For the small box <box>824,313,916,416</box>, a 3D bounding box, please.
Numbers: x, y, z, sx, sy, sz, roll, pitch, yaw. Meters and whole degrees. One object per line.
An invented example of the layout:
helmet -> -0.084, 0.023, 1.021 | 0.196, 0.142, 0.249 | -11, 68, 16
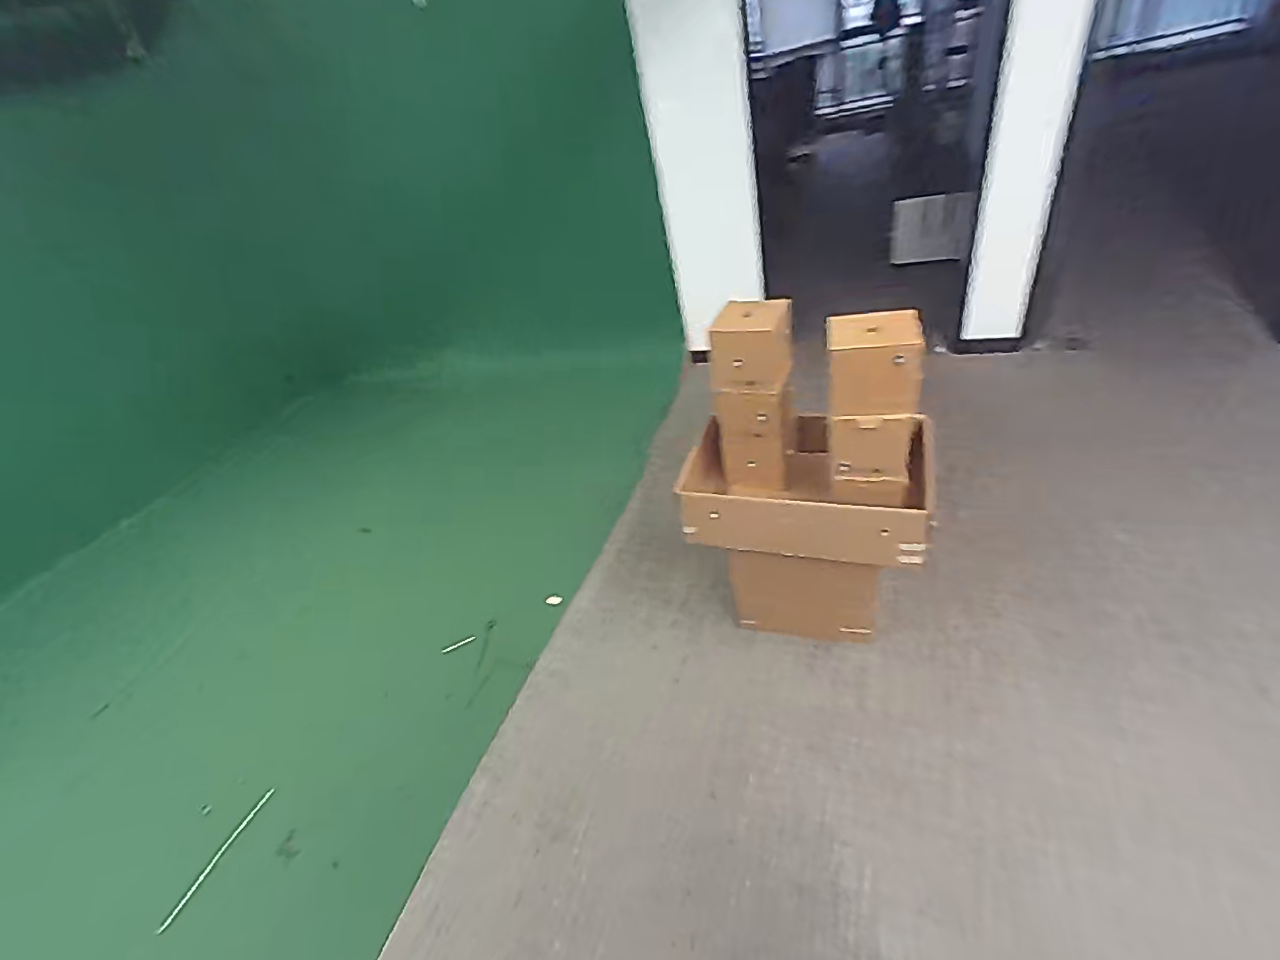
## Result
small box -> 0.504, -0.254, 1.206 | 0.179, 0.176, 0.168 | 0, 40, 18

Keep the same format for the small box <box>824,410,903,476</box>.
small box -> 0.536, -0.124, 1.298 | 0.168, 0.176, 0.179 | 2, 41, 21

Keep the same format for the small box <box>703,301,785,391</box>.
small box -> 0.276, -0.346, 1.400 | 0.168, 0.176, 0.179 | 8, 44, 25

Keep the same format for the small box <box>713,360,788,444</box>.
small box -> 0.312, -0.216, 1.496 | 0.168, 0.176, 0.179 | 7, 42, 24
